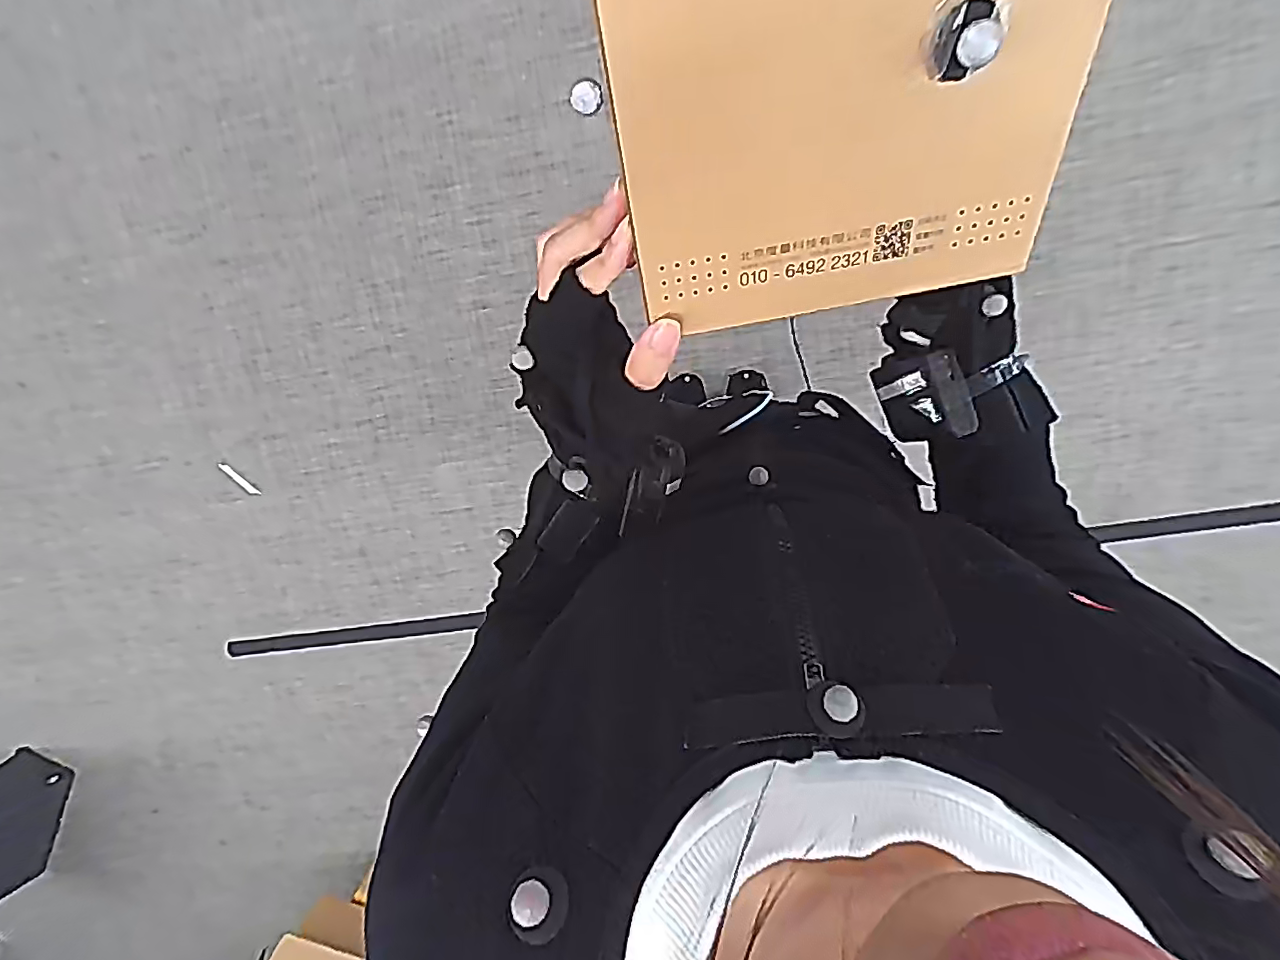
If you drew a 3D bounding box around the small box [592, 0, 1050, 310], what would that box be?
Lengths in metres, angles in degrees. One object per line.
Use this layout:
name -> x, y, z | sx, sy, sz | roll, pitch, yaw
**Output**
small box -> 0.068, -0.196, 0.265 | 0.168, 0.179, 0.176 | -9, 132, 4
